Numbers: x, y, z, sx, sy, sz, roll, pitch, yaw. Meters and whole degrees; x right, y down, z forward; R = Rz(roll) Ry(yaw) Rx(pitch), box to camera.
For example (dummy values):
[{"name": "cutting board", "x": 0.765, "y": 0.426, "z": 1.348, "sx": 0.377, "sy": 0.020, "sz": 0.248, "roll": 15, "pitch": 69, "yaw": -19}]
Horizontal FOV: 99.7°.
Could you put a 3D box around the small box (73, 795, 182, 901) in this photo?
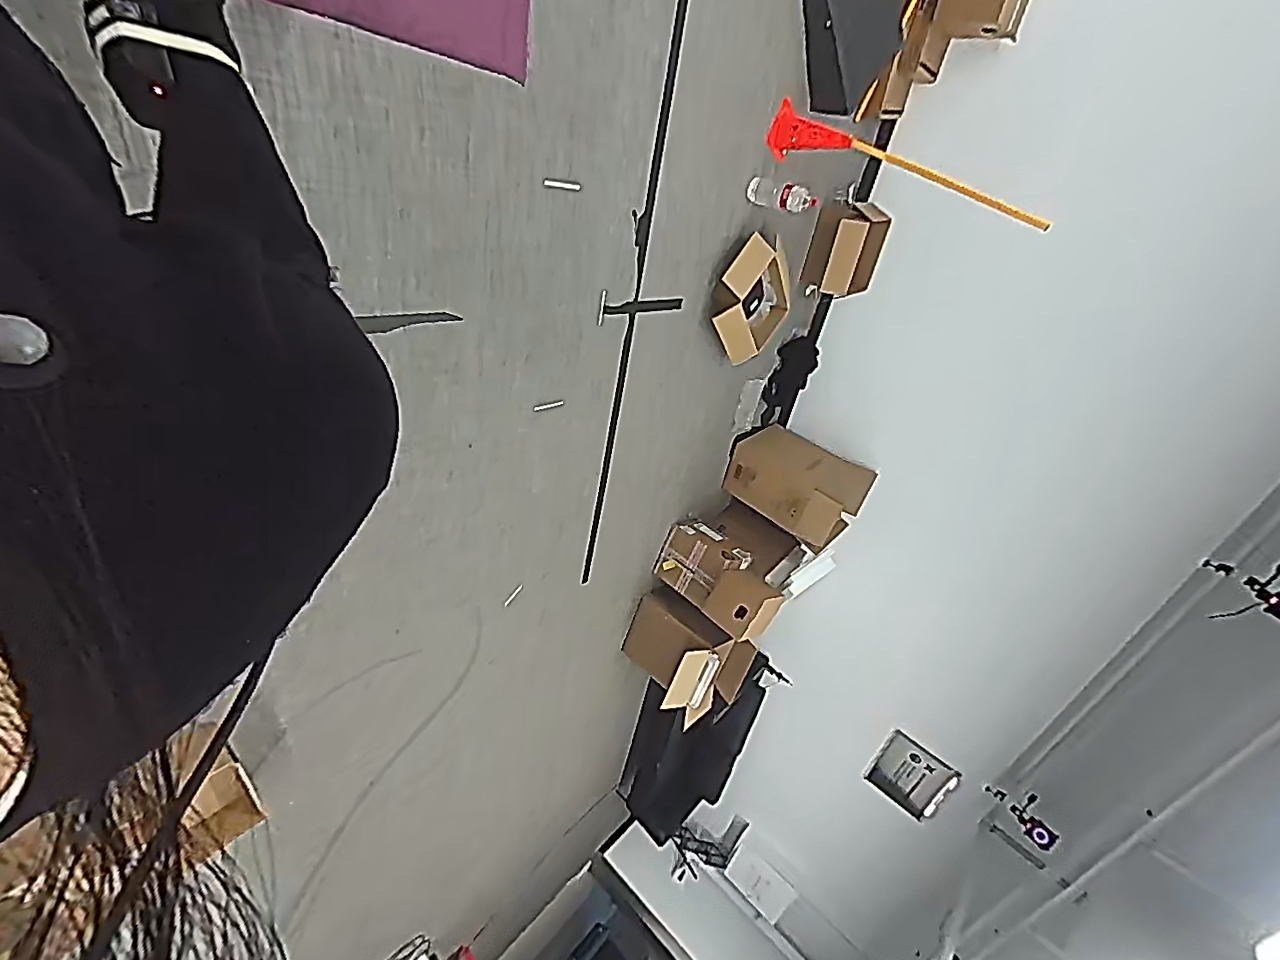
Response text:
[{"name": "small box", "x": -1.502, "y": 1.073, "z": 1.588, "sx": 0.168, "sy": 0.176, "sz": 0.179, "roll": -33, "pitch": 142, "yaw": -38}]
